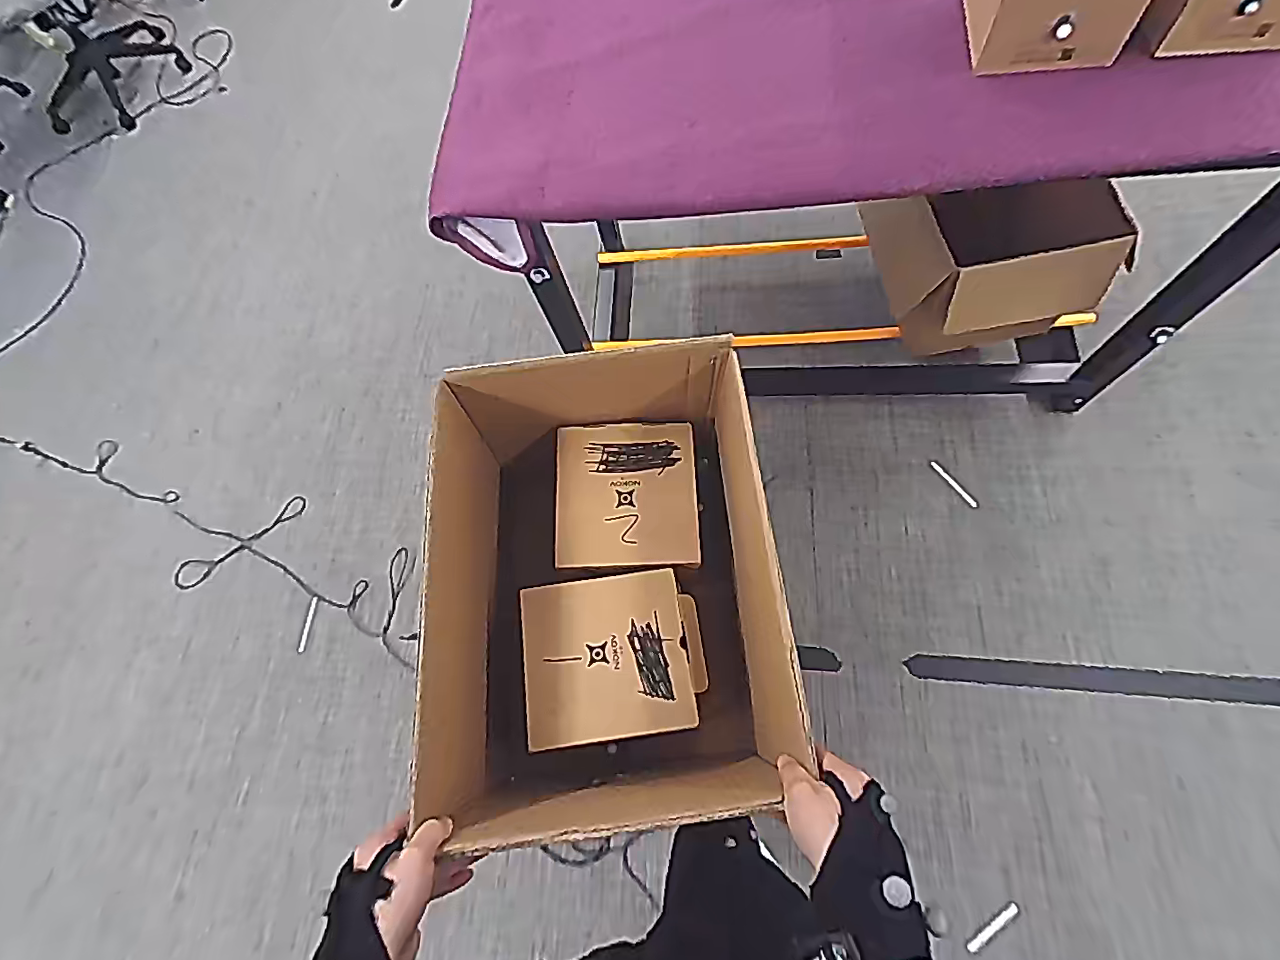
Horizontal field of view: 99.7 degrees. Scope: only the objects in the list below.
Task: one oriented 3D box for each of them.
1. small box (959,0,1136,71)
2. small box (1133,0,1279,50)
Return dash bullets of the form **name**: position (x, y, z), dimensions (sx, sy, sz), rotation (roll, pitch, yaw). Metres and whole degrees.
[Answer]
- **small box**: position (0.519, -0.656, 0.674), dimensions (0.168, 0.176, 0.179), rotation (3, 69, 11)
- **small box**: position (0.727, -0.656, 0.639), dimensions (0.168, 0.176, 0.179), rotation (3, 69, 11)
